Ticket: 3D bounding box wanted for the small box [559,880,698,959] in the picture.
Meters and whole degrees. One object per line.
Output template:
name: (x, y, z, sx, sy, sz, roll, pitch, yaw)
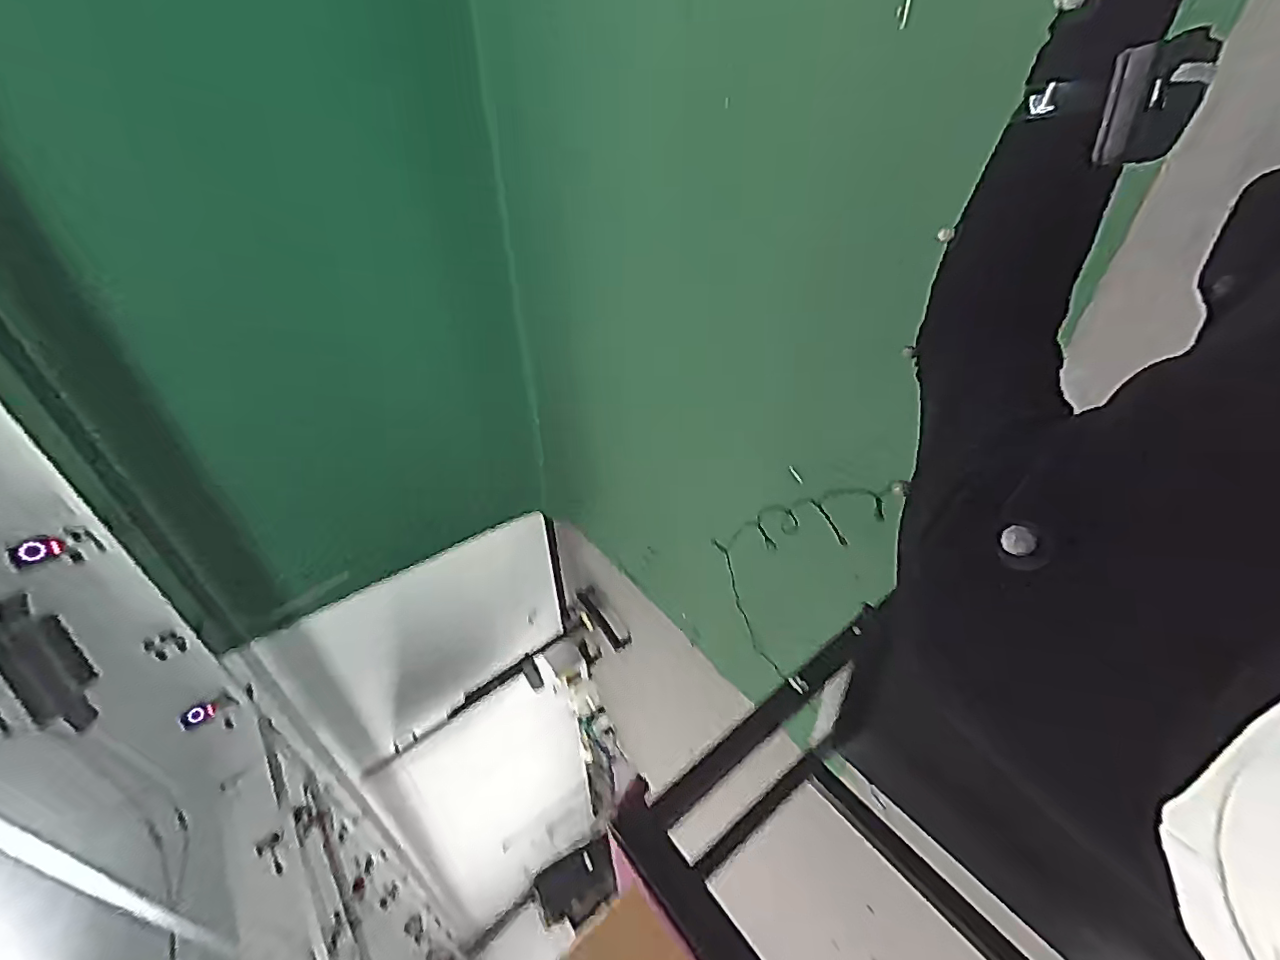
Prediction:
small box: (-0.008, 0.793, 0.856, 0.179, 0.176, 0.168, 40, 142, 35)
